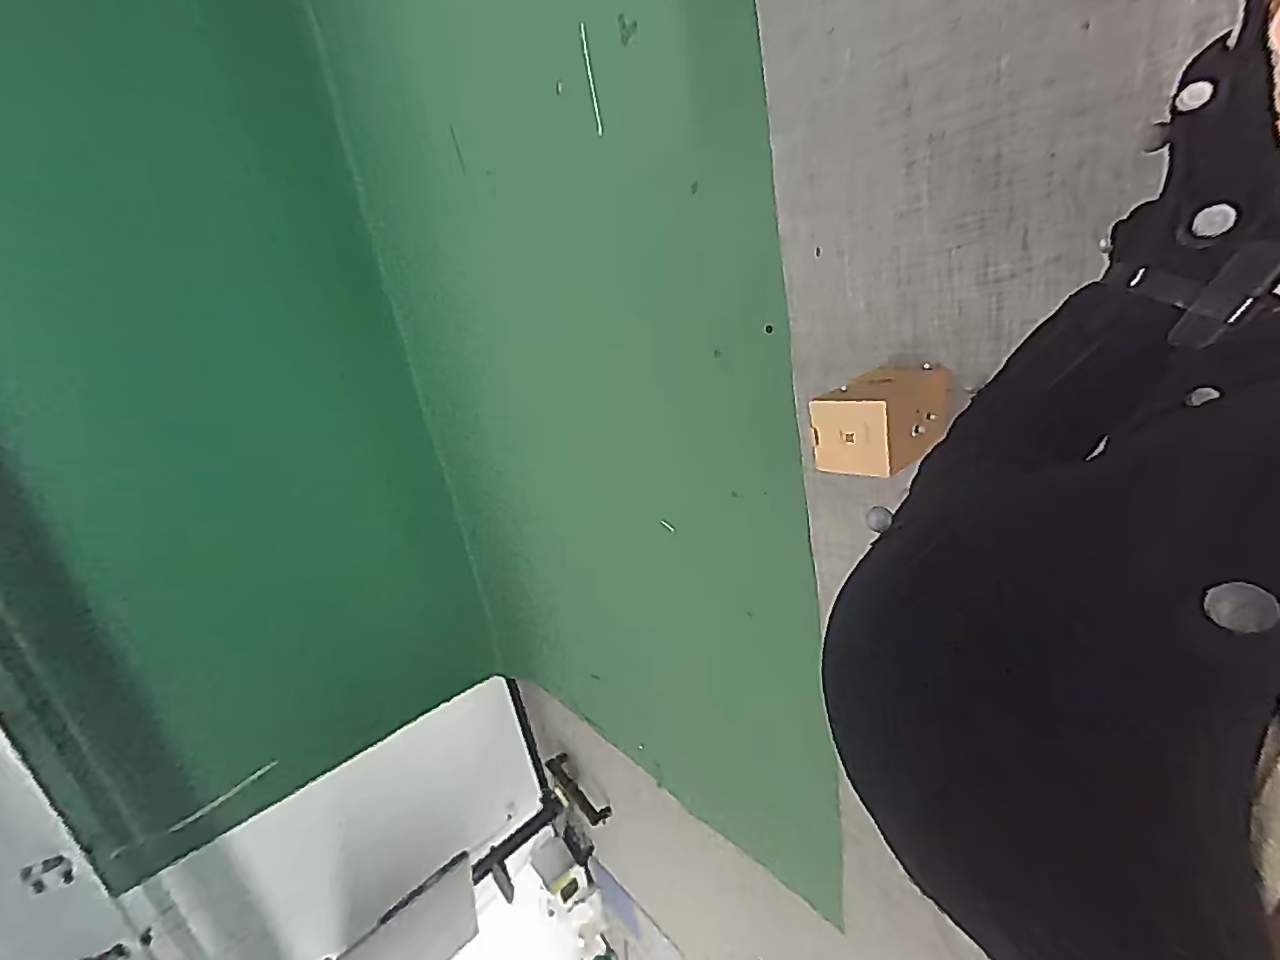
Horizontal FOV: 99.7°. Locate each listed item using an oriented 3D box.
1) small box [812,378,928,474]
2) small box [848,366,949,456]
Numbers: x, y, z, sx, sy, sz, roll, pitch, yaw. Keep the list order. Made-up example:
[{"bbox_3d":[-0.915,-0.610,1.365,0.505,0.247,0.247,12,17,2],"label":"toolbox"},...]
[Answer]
[{"bbox_3d":[0.508,-0.123,1.191,0.179,0.176,0.168,8,117,49],"label":"small box"},{"bbox_3d":[0.621,-0.174,1.298,0.168,0.176,0.179,13,120,48],"label":"small box"}]
